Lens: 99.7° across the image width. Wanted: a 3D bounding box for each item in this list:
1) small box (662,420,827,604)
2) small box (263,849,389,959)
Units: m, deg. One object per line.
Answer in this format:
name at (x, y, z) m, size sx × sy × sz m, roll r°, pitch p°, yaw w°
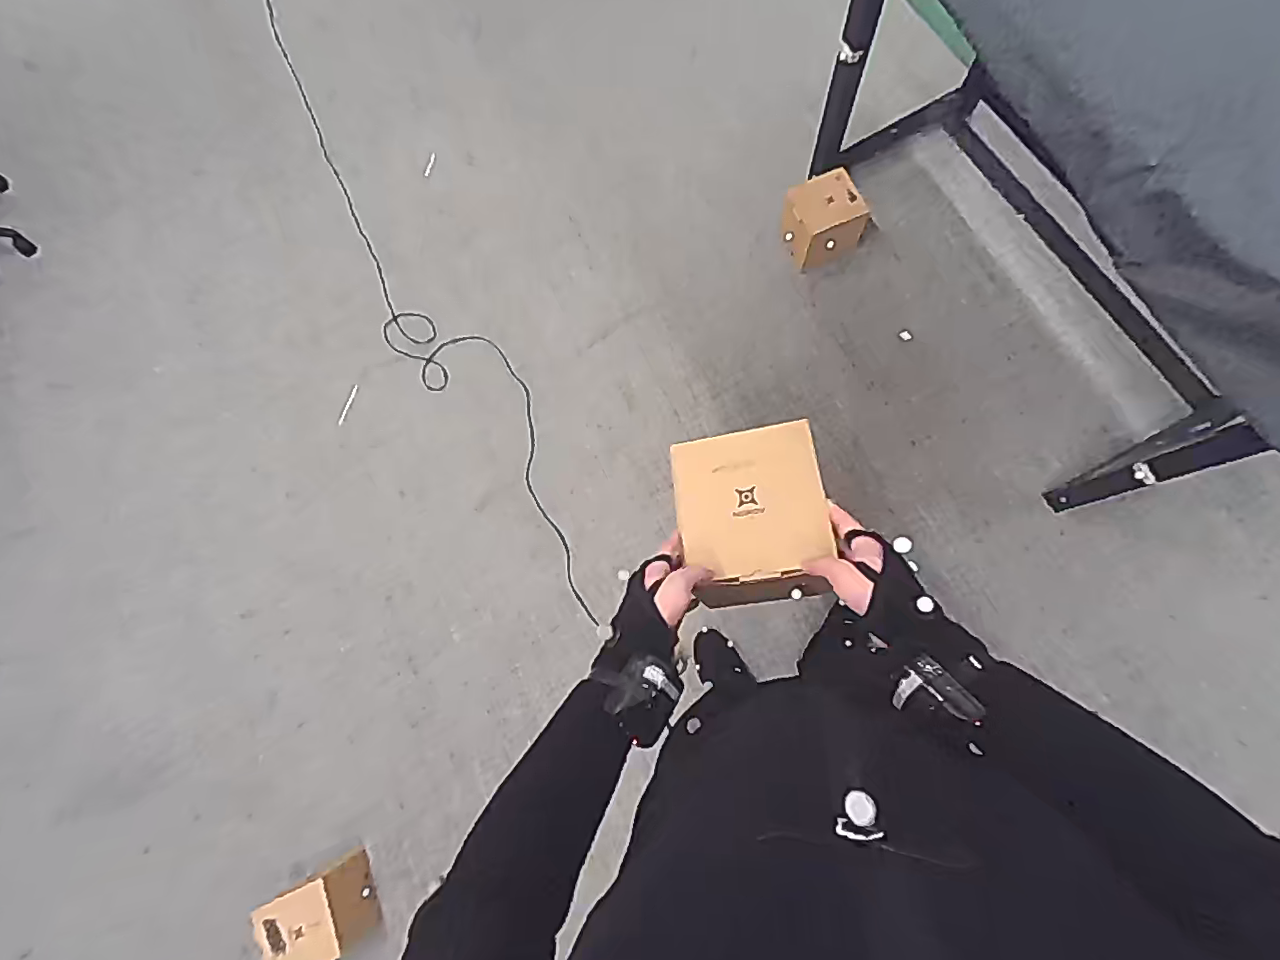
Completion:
small box at (0.133, 0.052, 0.676) m, size 0.168 × 0.176 × 0.179 m, roll -11°, pitch 65°, yaw 13°
small box at (-0.734, 1.018, 1.276) m, size 0.179 × 0.176 × 0.168 m, roll -25°, pitch 75°, yaw 0°
